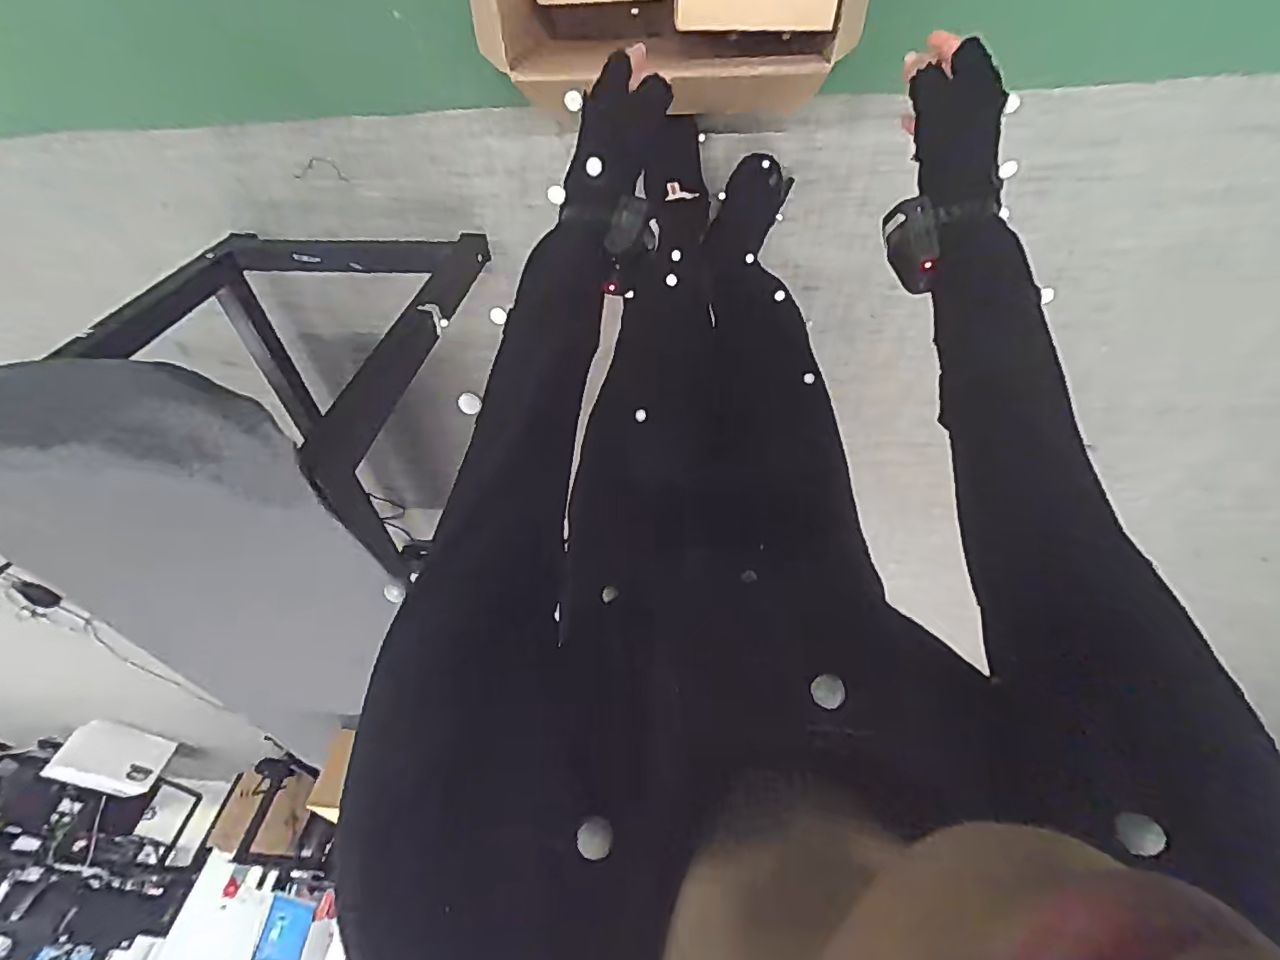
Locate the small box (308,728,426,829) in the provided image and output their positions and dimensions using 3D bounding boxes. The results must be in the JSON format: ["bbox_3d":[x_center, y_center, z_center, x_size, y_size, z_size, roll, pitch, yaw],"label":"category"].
[{"bbox_3d":[-0.627,0.703,1.277,0.179,0.176,0.168,2,136,6],"label":"small box"}]
